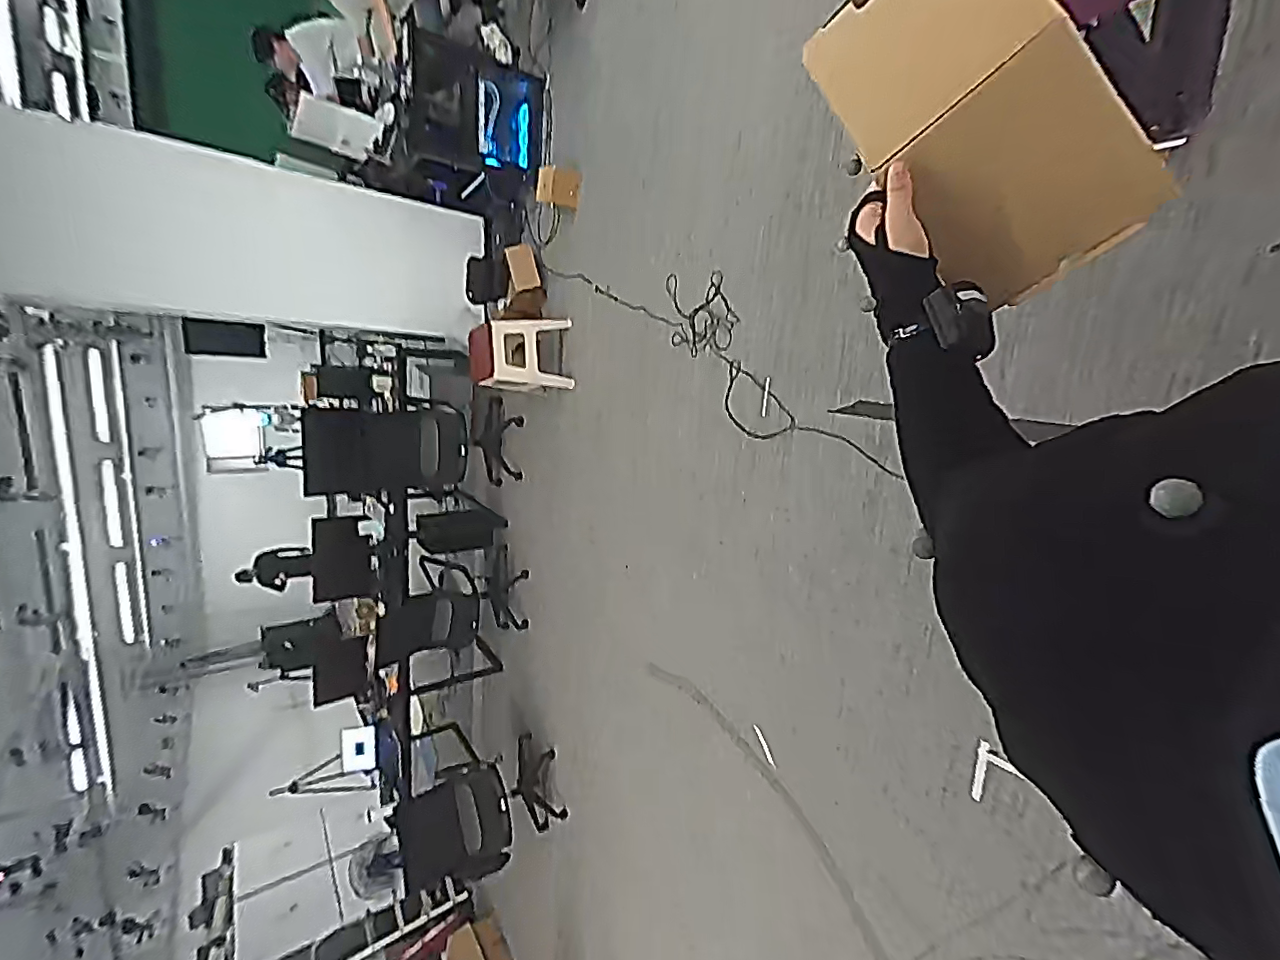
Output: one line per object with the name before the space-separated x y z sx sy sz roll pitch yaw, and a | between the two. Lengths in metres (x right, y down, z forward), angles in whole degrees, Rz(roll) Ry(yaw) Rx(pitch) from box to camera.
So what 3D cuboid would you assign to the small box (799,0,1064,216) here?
small box | 0.300 -0.404 0.555 0.168 0.176 0.179 -31 69 36
